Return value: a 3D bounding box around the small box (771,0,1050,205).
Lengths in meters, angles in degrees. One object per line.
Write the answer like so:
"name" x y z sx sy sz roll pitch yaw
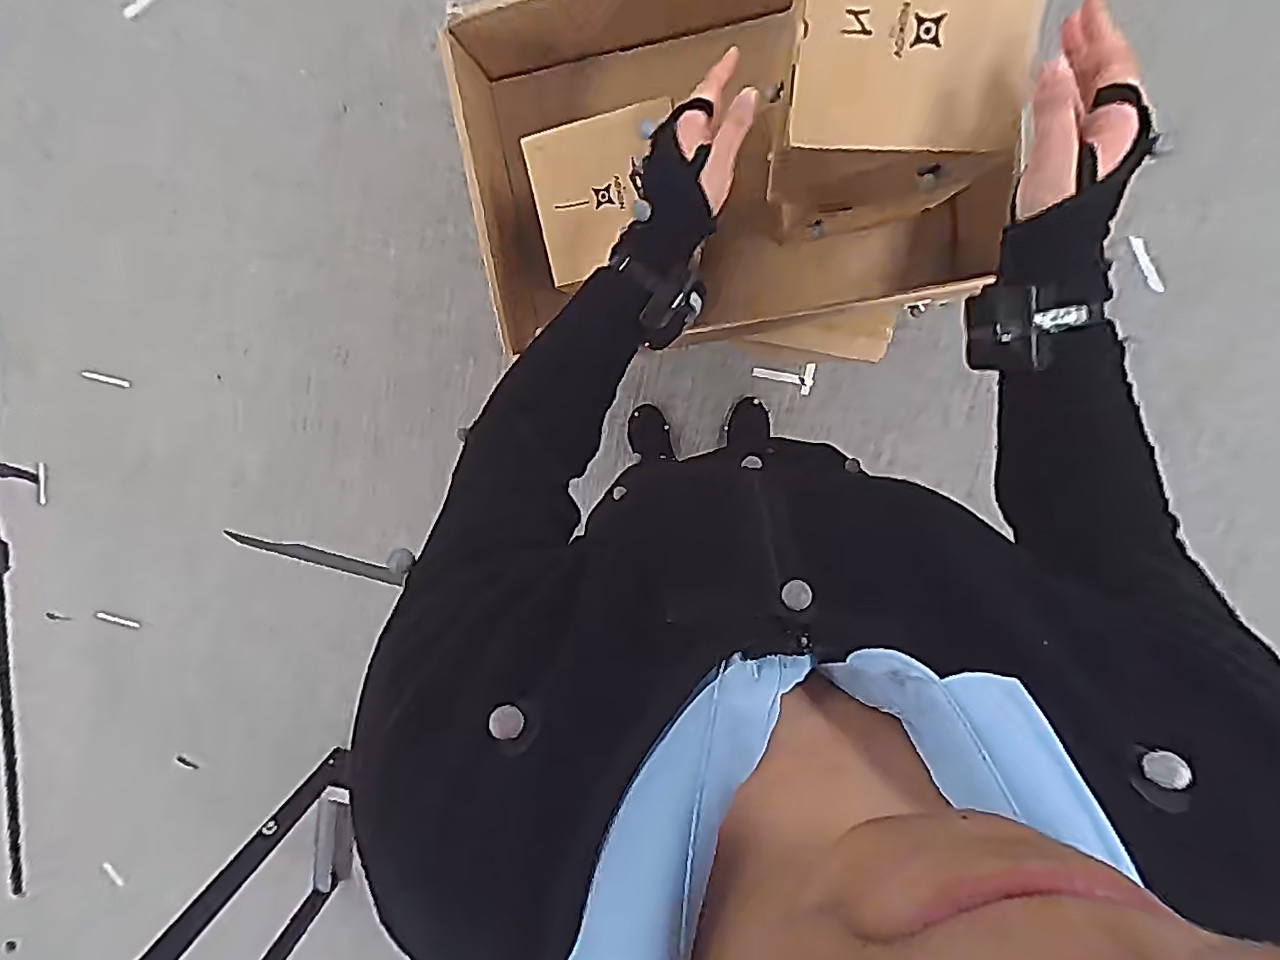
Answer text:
"small box" 0.223 -0.358 0.485 0.179 0.176 0.168 6 104 7
